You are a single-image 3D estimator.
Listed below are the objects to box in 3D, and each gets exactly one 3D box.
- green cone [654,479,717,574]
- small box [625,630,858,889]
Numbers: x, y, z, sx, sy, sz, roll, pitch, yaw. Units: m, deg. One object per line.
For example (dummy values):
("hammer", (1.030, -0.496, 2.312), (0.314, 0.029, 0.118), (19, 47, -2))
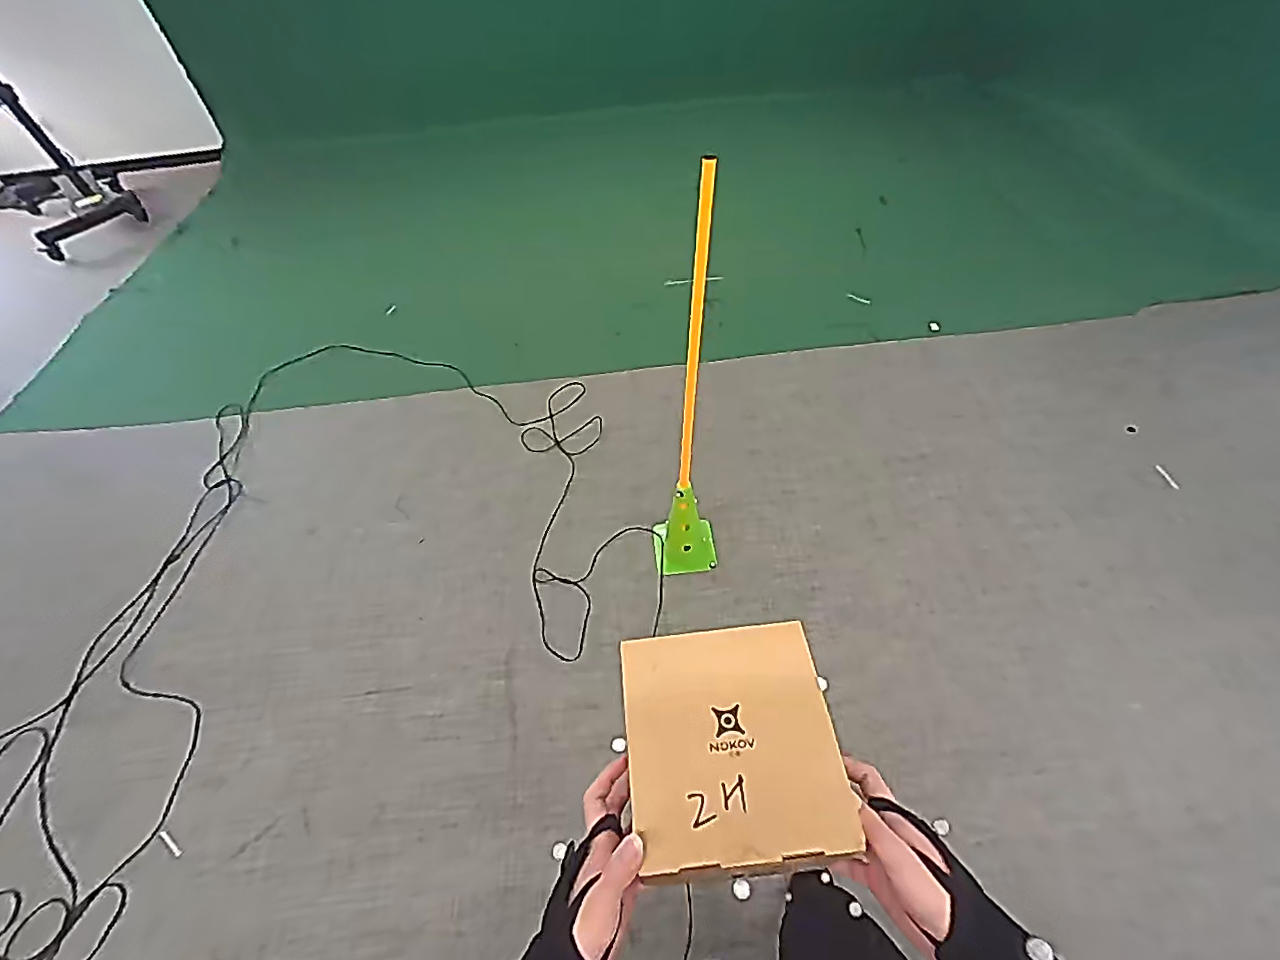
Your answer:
("green cone", (0.139, 0.119, 1.713), (0.202, 0.368, 0.200), (-7, 51, 1))
("small box", (0.076, 0.261, 0.502), (0.168, 0.176, 0.179), (-6, 51, 1))
